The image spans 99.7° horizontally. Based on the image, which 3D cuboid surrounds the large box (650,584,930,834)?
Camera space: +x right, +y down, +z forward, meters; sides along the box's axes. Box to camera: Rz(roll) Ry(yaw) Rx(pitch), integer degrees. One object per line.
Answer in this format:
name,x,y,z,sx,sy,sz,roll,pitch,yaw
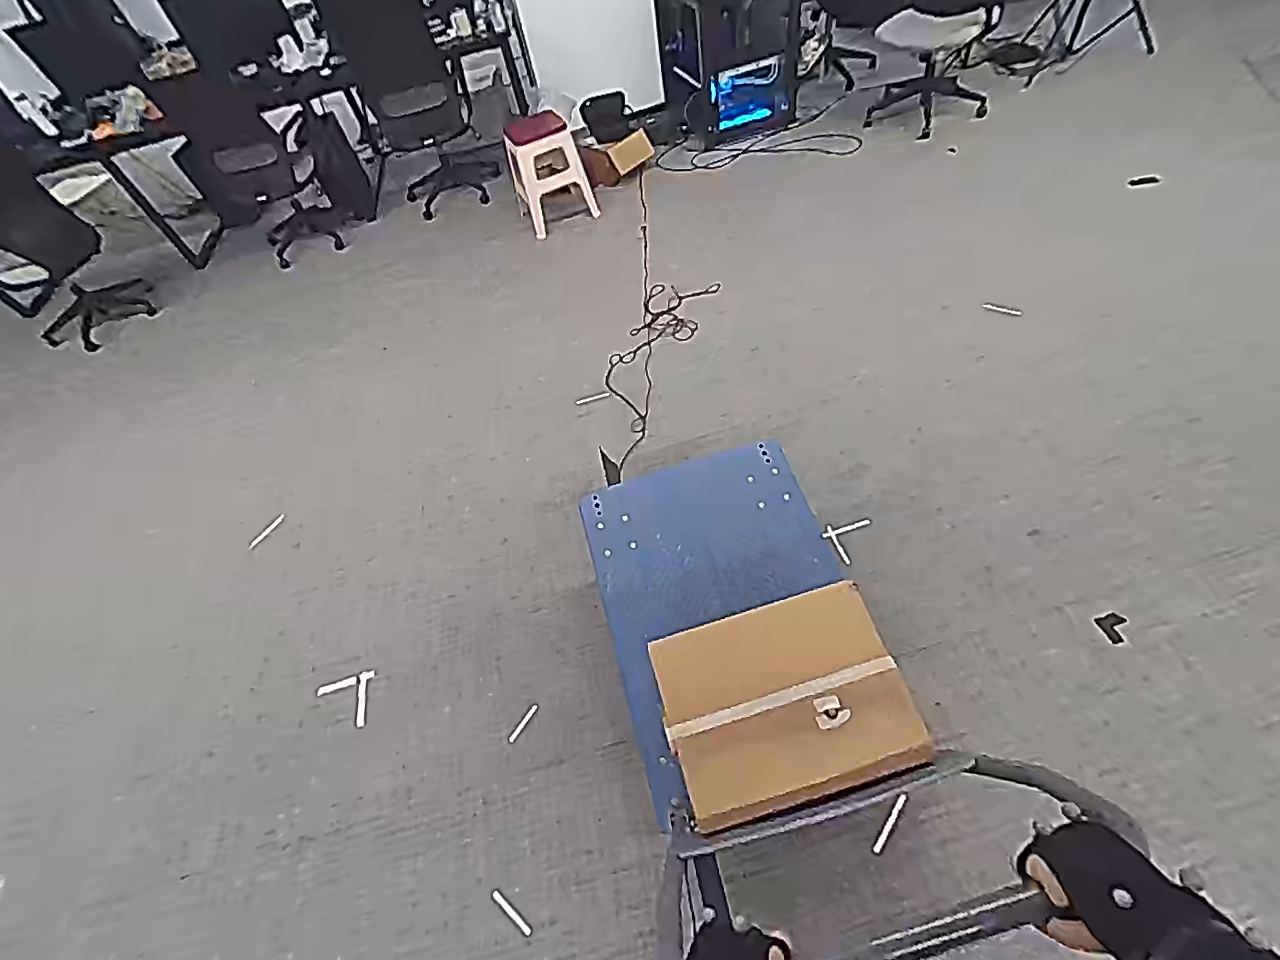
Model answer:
large box,0.264,0.453,1.079,0.408,0.320,0.320,-18,63,-2
